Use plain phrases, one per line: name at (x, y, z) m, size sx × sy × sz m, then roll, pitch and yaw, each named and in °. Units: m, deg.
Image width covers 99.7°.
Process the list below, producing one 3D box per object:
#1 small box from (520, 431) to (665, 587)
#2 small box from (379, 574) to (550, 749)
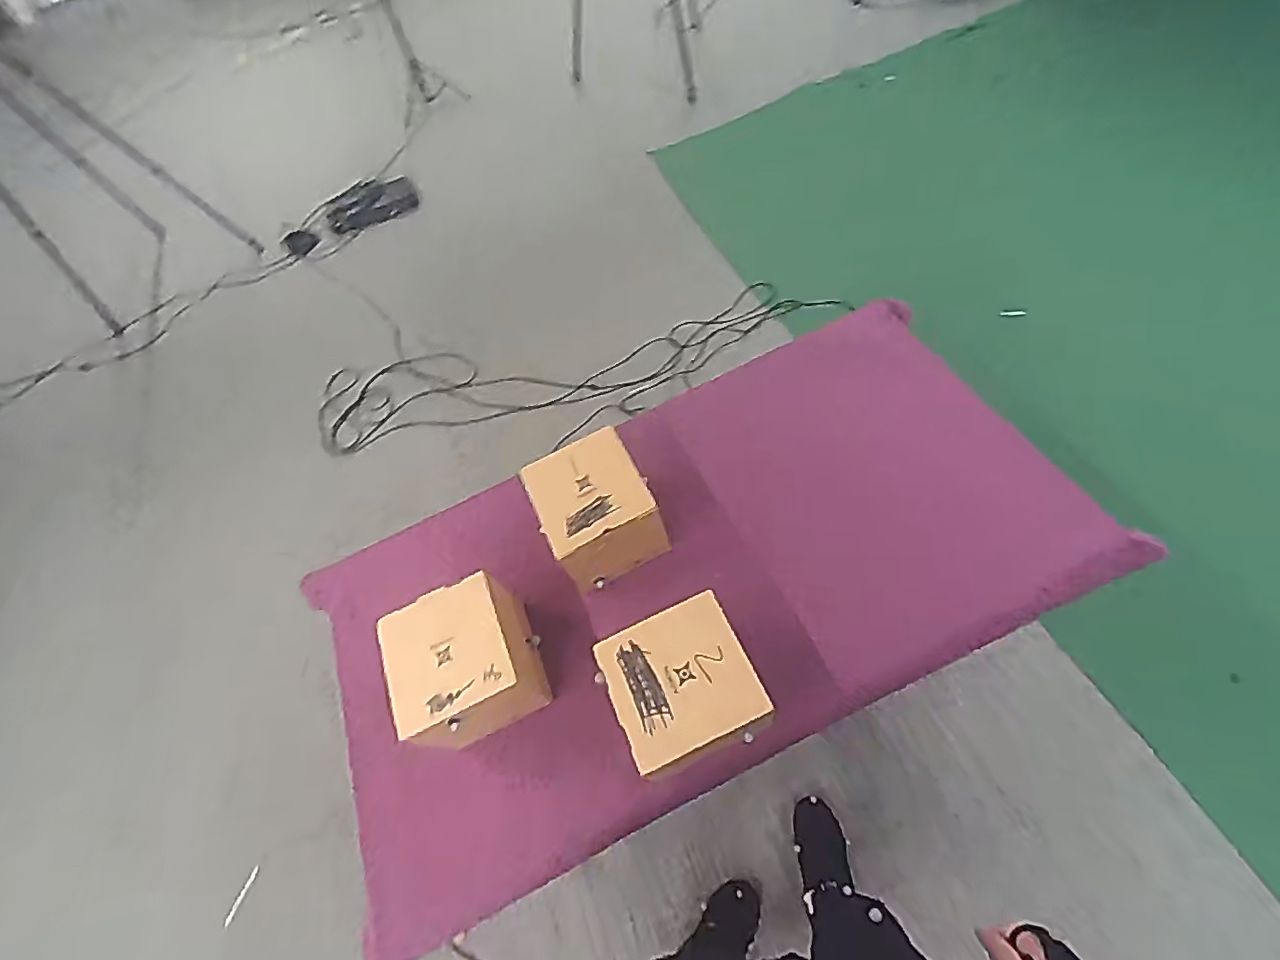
small box at (-0.071, 0.059, 0.892) m, size 0.168 × 0.176 × 0.179 m, roll -27°, pitch 58°, yaw -5°
small box at (-0.253, 0.273, 0.799) m, size 0.168 × 0.176 × 0.179 m, roll -26°, pitch 58°, yaw -3°
